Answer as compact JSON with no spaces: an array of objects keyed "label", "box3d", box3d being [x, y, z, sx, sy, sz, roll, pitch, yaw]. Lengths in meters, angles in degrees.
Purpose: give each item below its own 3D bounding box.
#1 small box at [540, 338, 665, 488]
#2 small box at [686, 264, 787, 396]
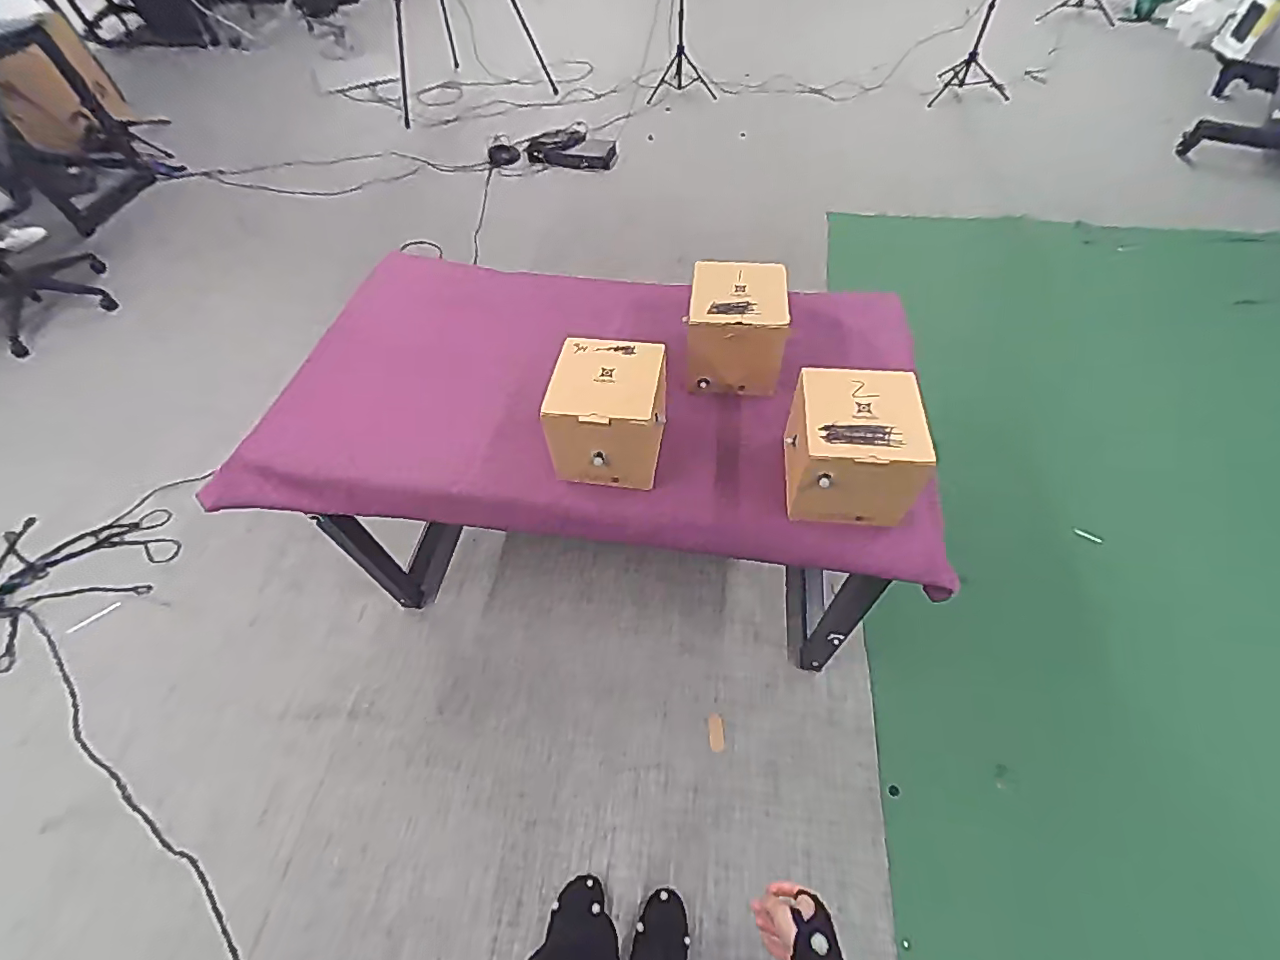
[{"label":"small box","box3d":[-0.051,-0.107,0.888,0.168,0.176,0.179,7,54,6]},{"label":"small box","box3d":[0.174,-0.274,1.000,0.168,0.176,0.179,5,54,6]}]
